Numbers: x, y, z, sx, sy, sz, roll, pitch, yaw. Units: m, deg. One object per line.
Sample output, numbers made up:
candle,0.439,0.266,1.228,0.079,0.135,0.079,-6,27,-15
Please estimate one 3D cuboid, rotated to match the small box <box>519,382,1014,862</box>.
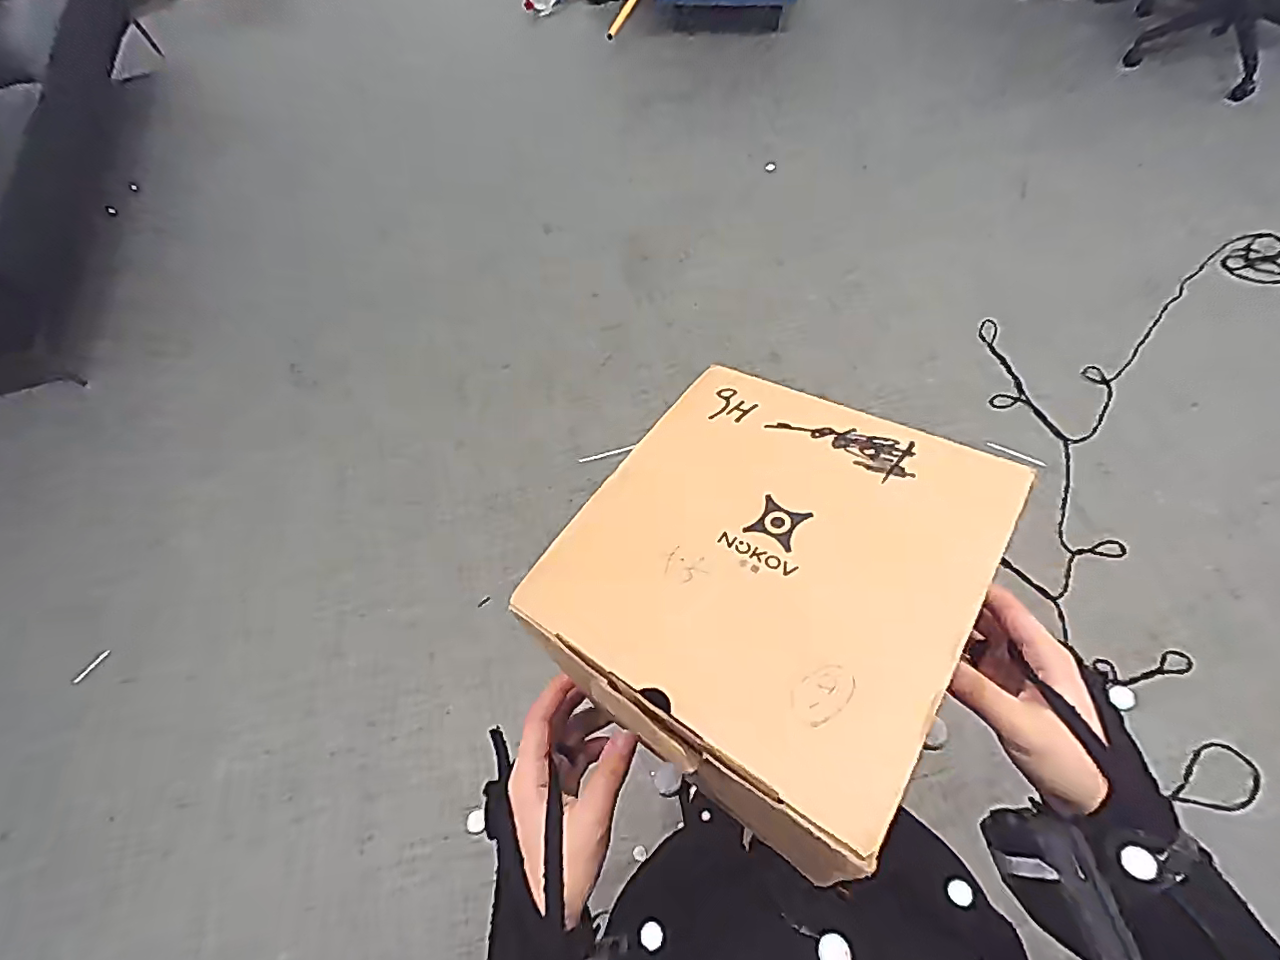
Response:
small box,0.070,0.081,0.309,0.168,0.176,0.179,26,62,29
